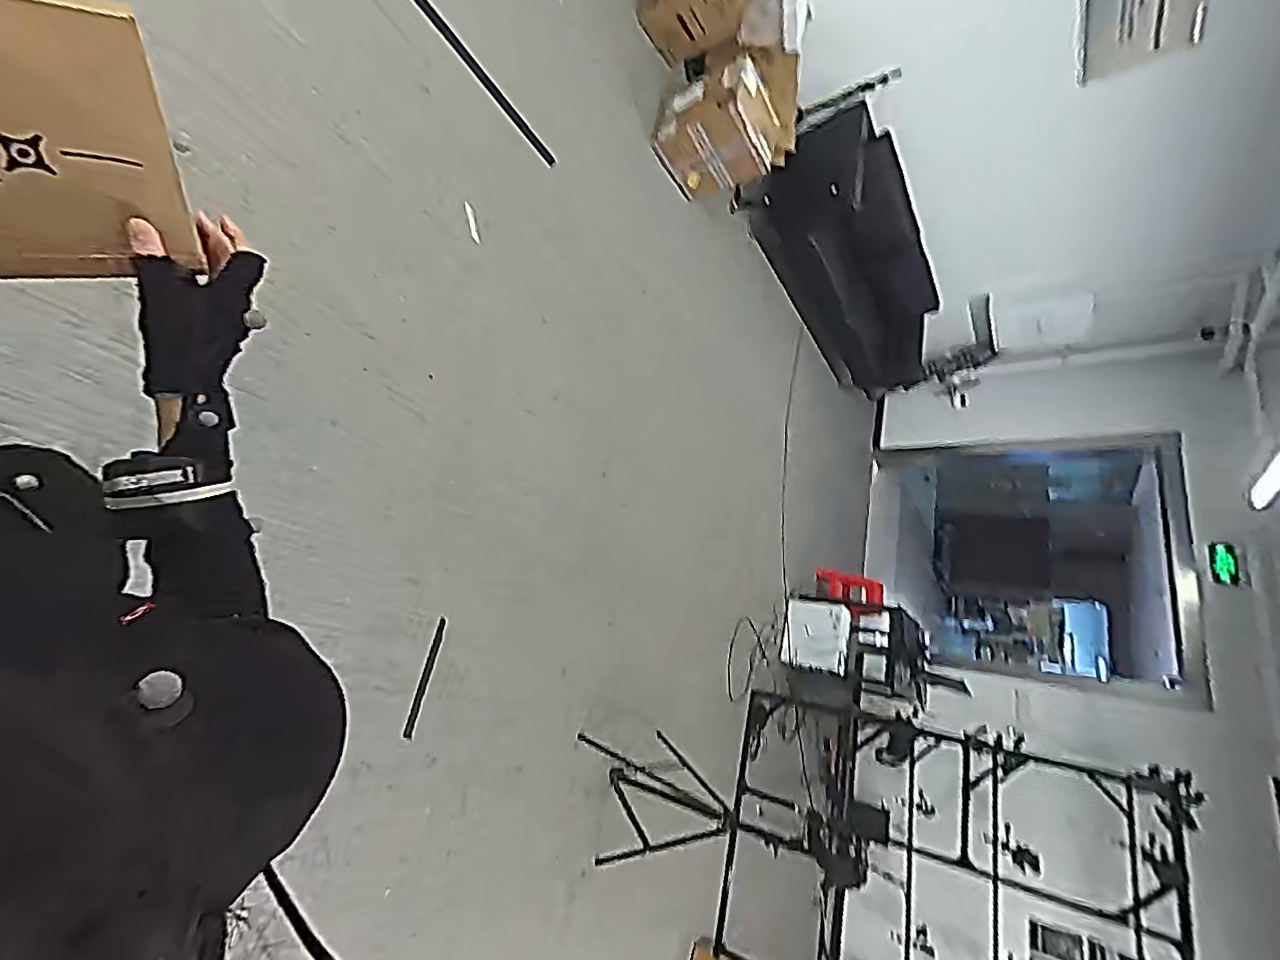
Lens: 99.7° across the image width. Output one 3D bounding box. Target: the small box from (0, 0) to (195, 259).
[{"bbox_3d":[-0.451,-0.265,0.379,0.179,0.176,0.168,-18,137,-36],"label":"small box"}]
